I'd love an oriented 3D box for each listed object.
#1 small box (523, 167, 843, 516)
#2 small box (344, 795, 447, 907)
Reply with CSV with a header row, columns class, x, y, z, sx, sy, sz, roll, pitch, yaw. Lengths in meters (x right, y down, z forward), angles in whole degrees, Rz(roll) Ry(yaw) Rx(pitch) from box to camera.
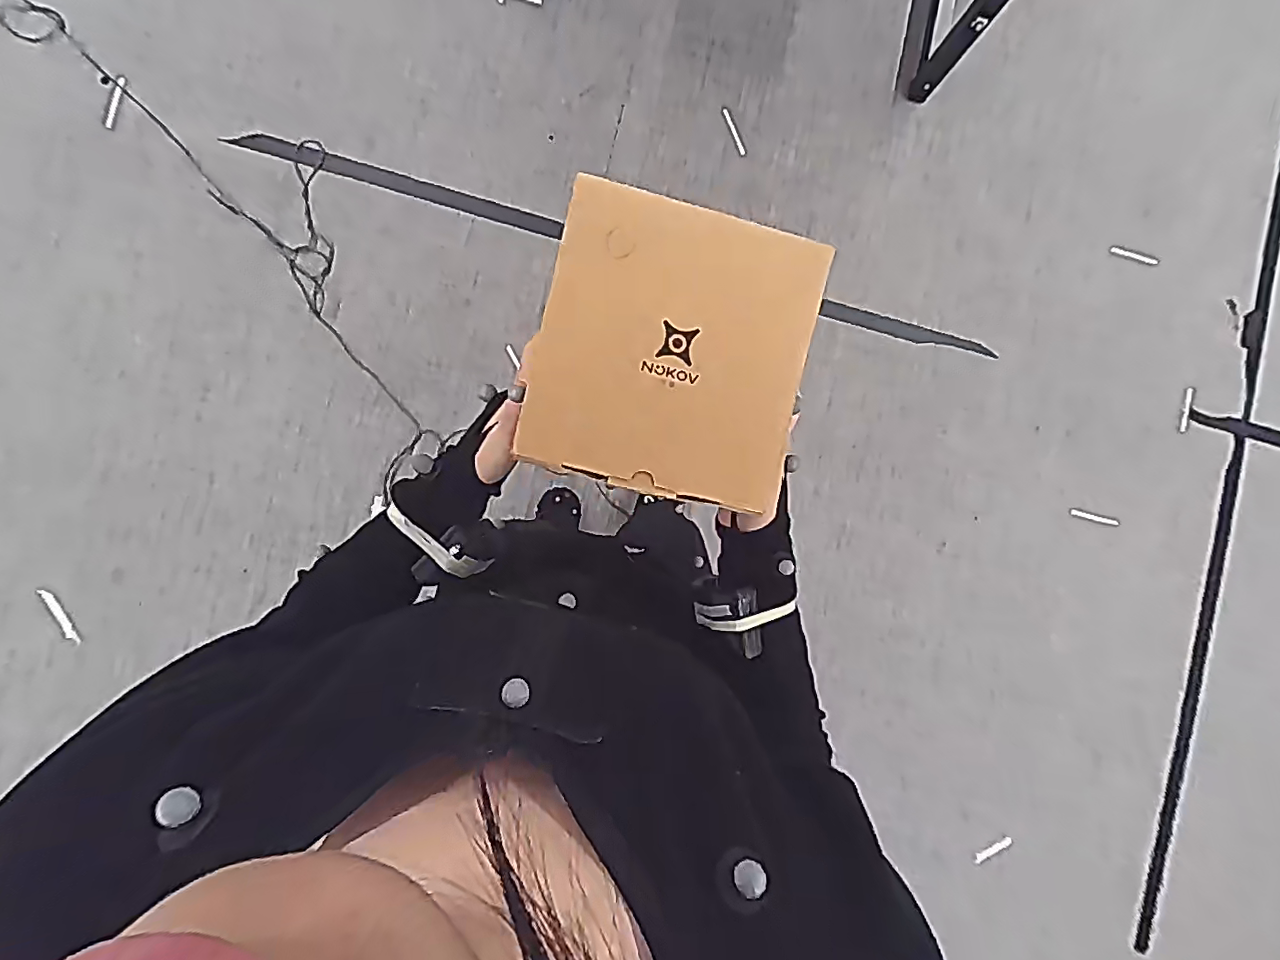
class,x,y,z,sx,sy,sz,roll,pitch,yaw
small box,0.020,-0.085,0.405,0.168,0.176,0.179,13,93,-6
small box,-0.596,0.905,1.333,0.179,0.176,0.168,7,90,-6
